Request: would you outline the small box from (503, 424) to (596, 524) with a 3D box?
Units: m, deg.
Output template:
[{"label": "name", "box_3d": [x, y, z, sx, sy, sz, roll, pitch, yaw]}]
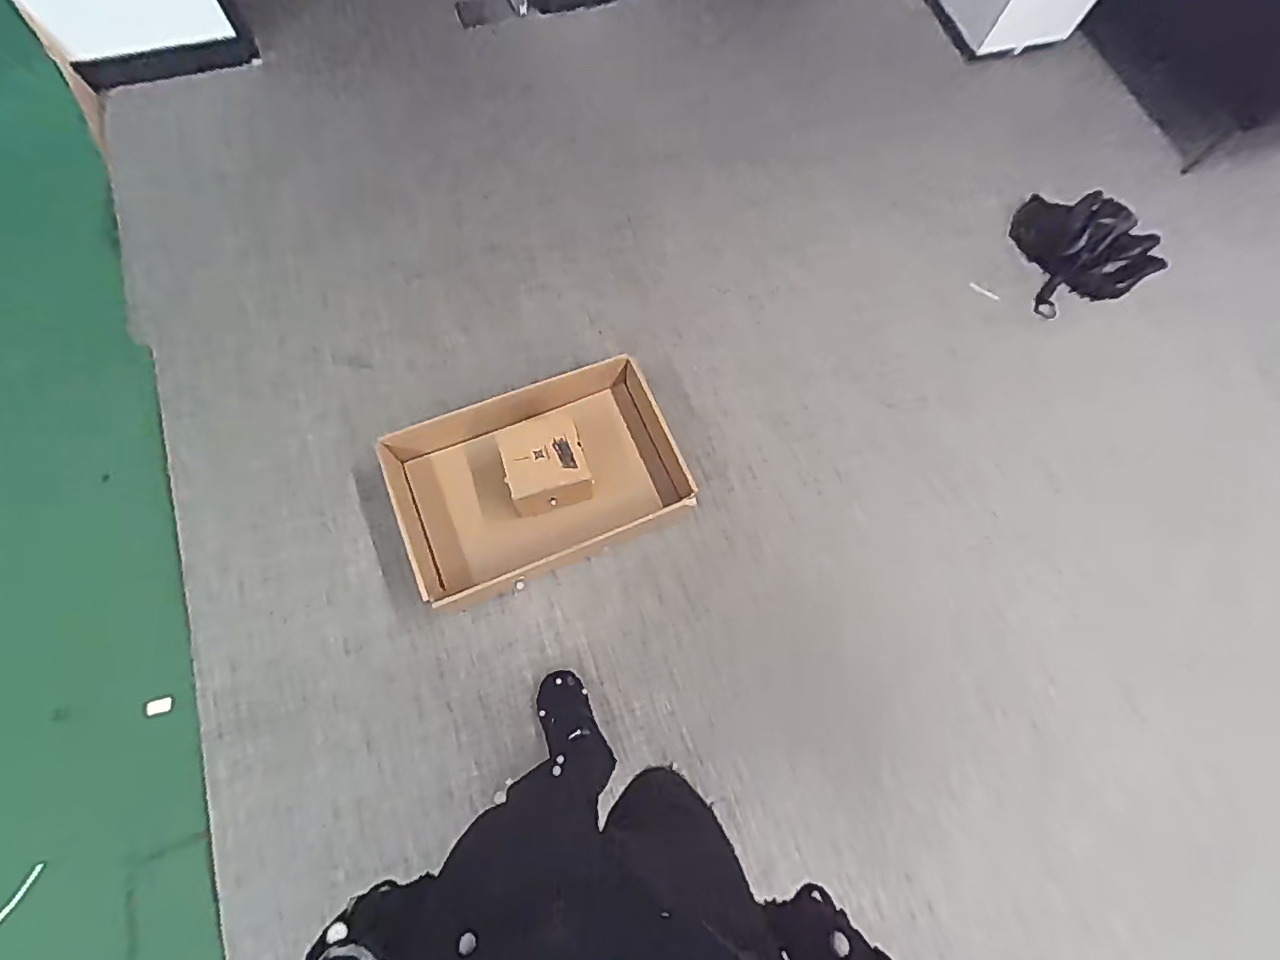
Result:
[{"label": "small box", "box_3d": [-0.207, -0.010, 1.275, 0.179, 0.176, 0.168, -16, 73, -7]}]
